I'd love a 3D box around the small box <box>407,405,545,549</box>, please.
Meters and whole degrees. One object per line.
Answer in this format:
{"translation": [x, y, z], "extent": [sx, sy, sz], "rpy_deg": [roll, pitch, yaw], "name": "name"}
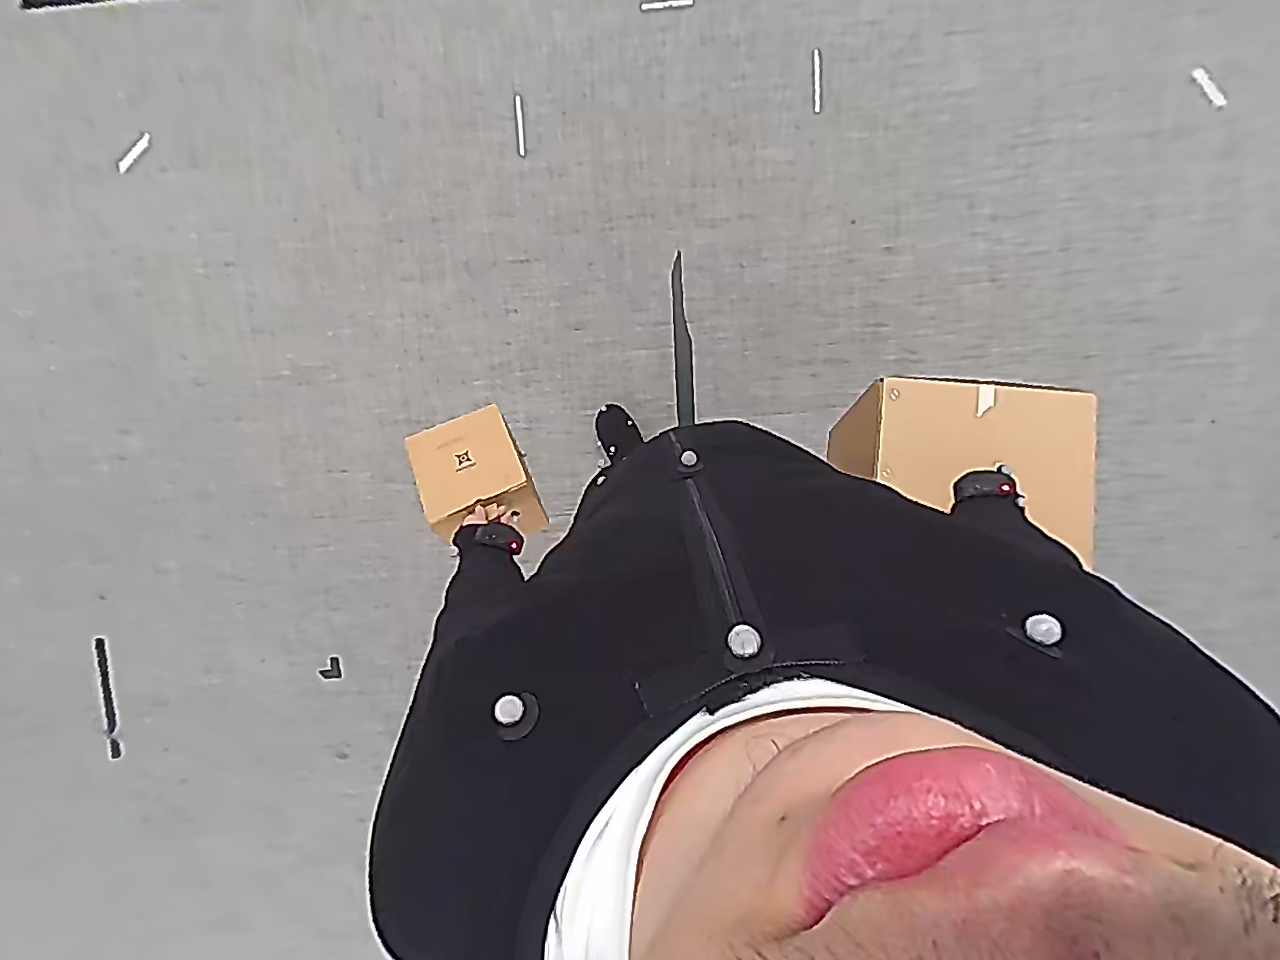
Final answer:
{"translation": [-0.283, 0.005, 0.961], "extent": [0.168, 0.176, 0.179], "rpy_deg": [-23, 63, -9], "name": "small box"}
